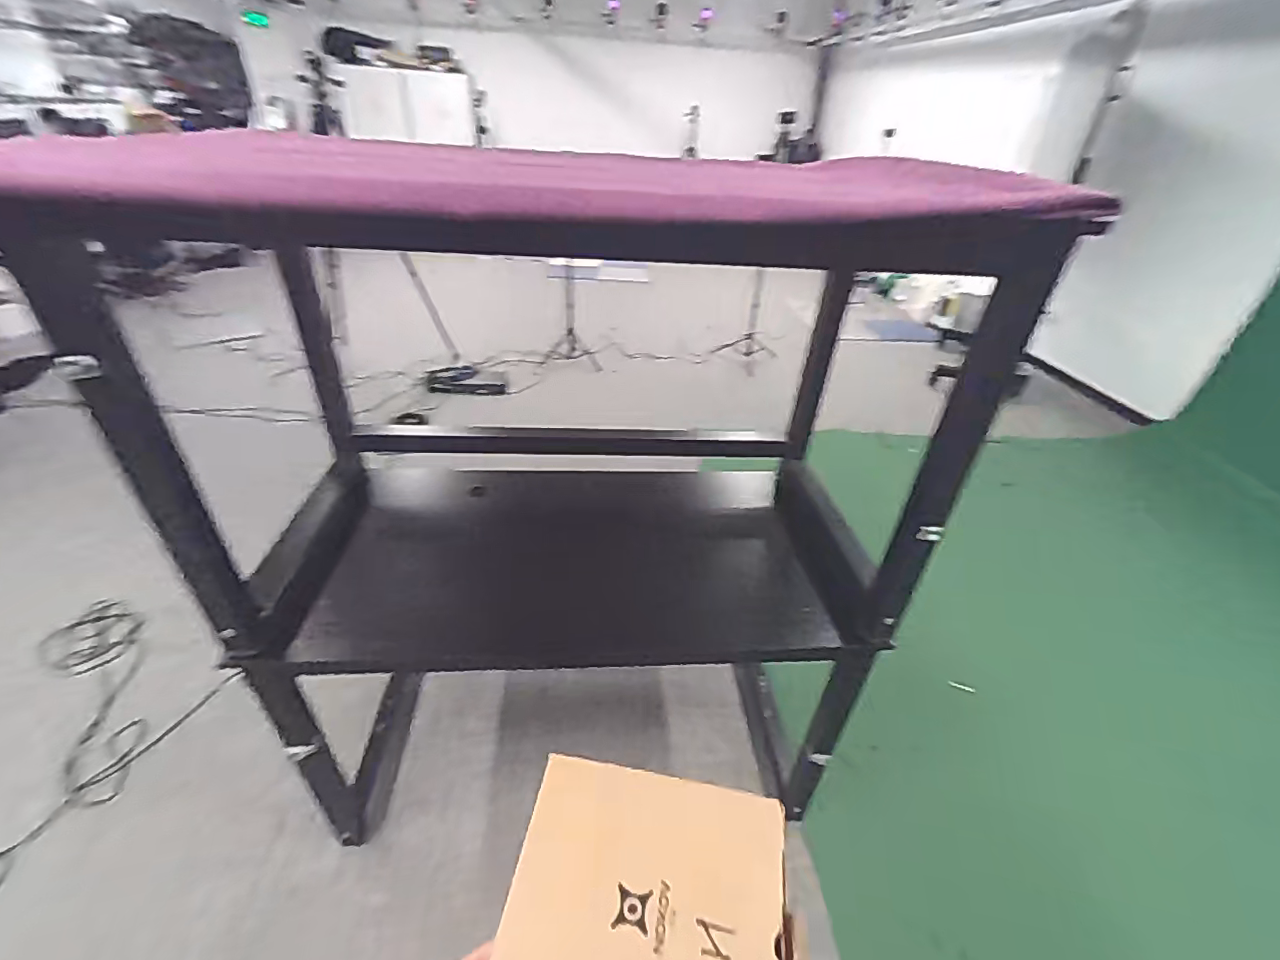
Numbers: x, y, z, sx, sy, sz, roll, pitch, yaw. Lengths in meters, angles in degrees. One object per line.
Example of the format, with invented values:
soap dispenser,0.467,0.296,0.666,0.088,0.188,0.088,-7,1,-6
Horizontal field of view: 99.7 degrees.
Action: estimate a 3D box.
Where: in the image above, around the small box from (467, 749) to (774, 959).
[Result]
small box,-0.009,0.320,0.377,0.179,0.176,0.168,9,41,6
